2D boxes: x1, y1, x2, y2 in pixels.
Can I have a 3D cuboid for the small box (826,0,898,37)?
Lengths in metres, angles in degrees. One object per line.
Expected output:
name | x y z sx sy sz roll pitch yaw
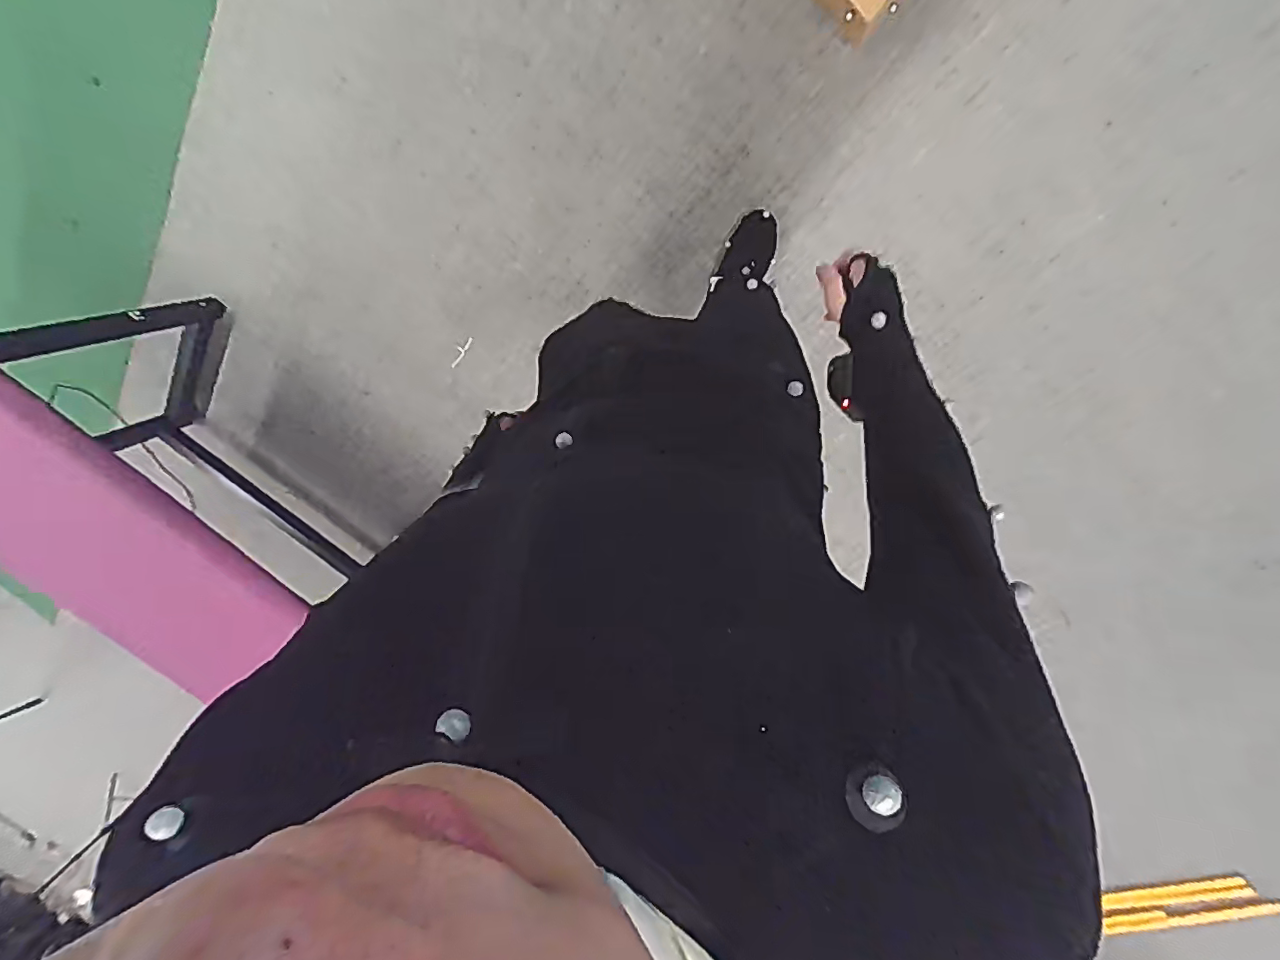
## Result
small box | 0.440 -0.997 1.025 0.179 0.176 0.168 43 119 -9
